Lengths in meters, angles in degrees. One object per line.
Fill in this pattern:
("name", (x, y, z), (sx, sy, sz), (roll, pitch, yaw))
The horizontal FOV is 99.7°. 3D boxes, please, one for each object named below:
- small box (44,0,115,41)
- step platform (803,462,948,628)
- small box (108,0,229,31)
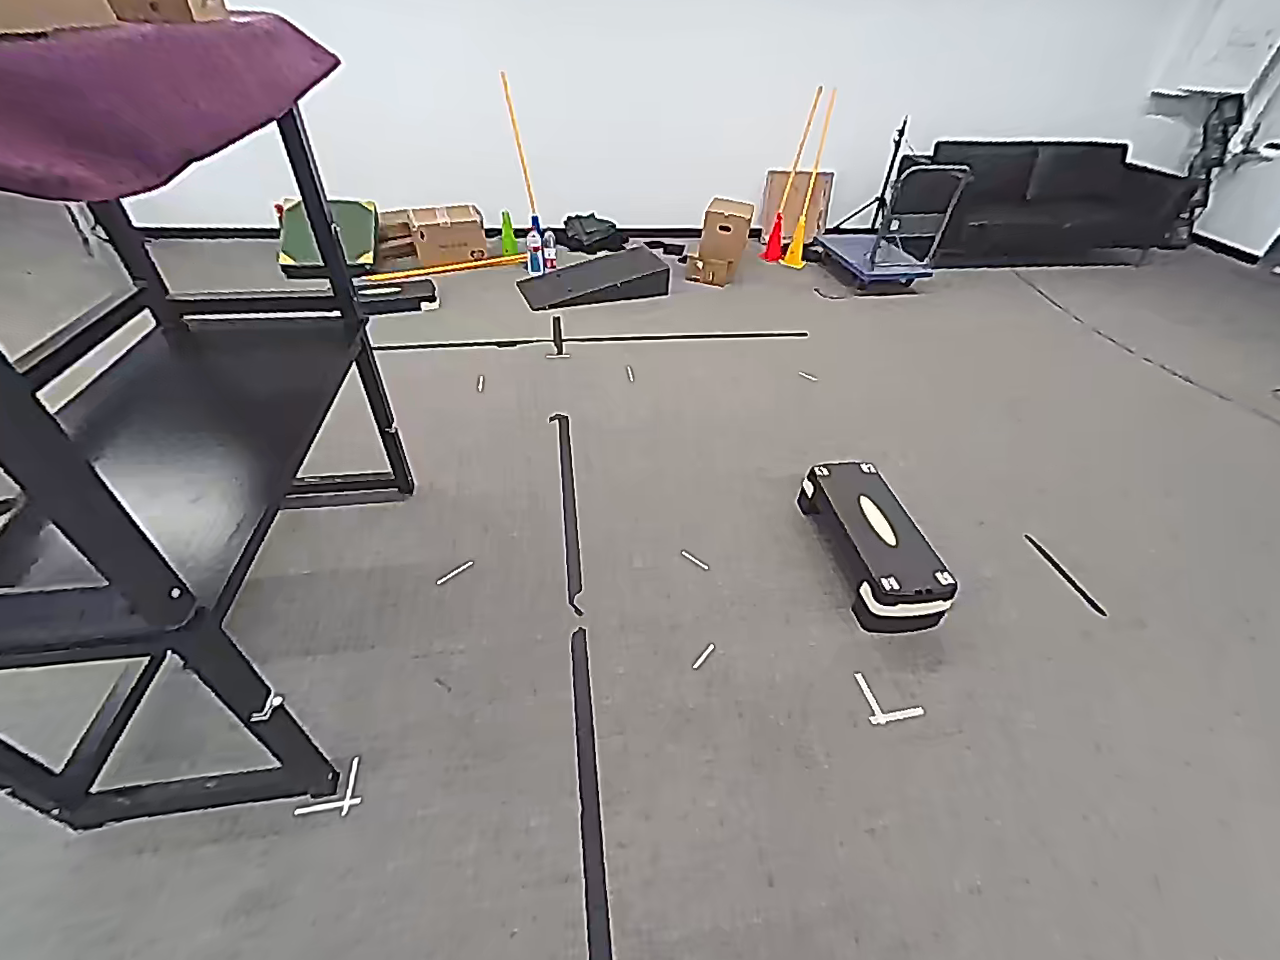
("small box", (-0.911, -0.737, 0.762), (0.168, 0.176, 0.179), (-3, 42, -7))
("step platform", (0.844, 0.206, 2.013), (0.286, 0.204, 0.684), (0, 40, -4))
("small box", (-0.934, -0.978, 1.037), (0.168, 0.176, 0.179), (-5, 41, -9))
